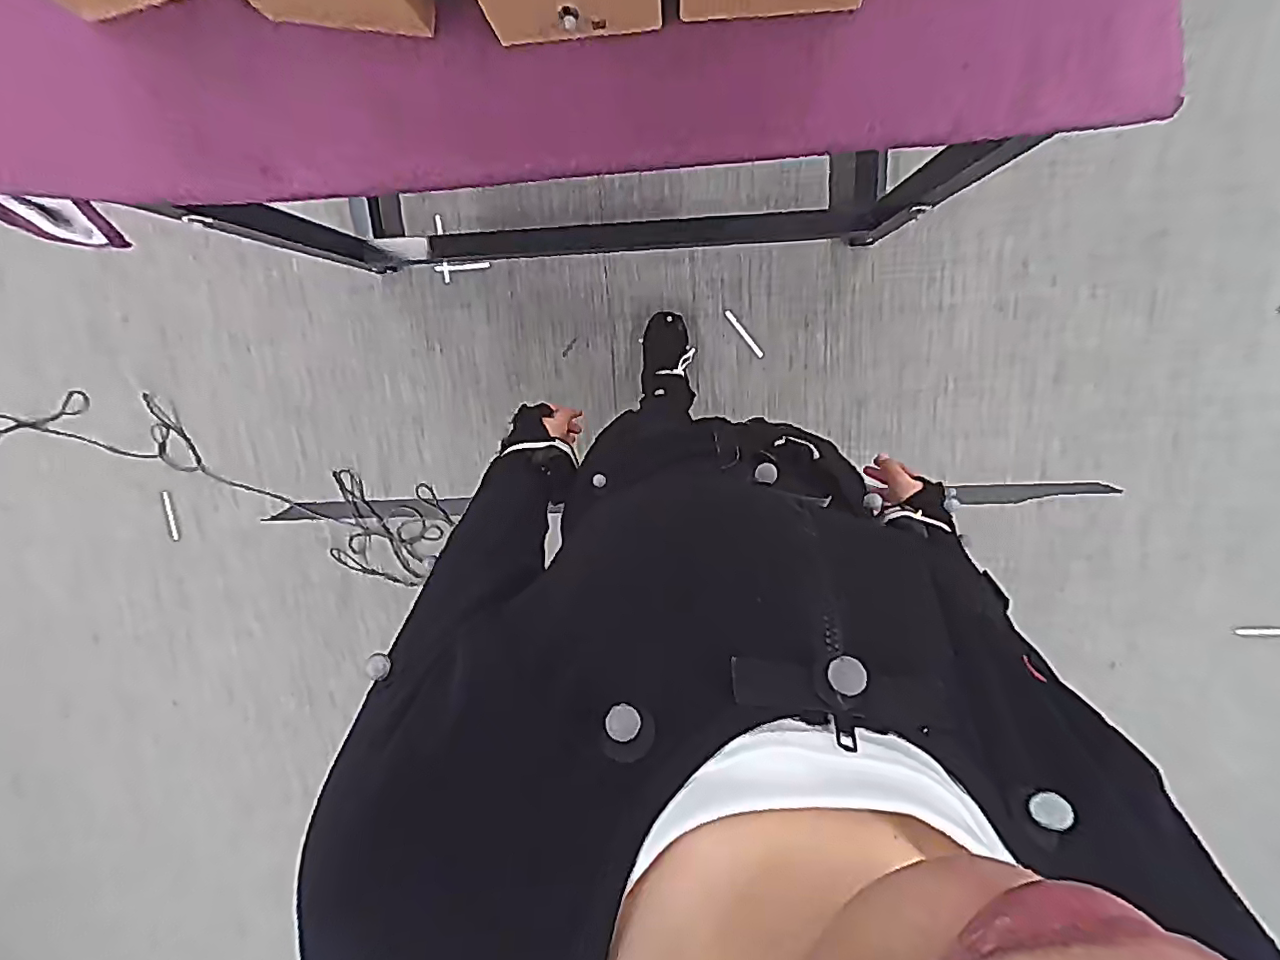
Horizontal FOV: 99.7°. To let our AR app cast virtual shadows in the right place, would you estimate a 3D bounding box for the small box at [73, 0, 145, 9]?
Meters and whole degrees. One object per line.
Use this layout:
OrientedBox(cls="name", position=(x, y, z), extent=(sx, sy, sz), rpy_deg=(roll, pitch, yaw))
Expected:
OrientedBox(cls="small box", position=(-0.521, -0.561, 0.471), extent=(0.168, 0.176, 0.179), rpy_deg=(-10, 103, 6))
